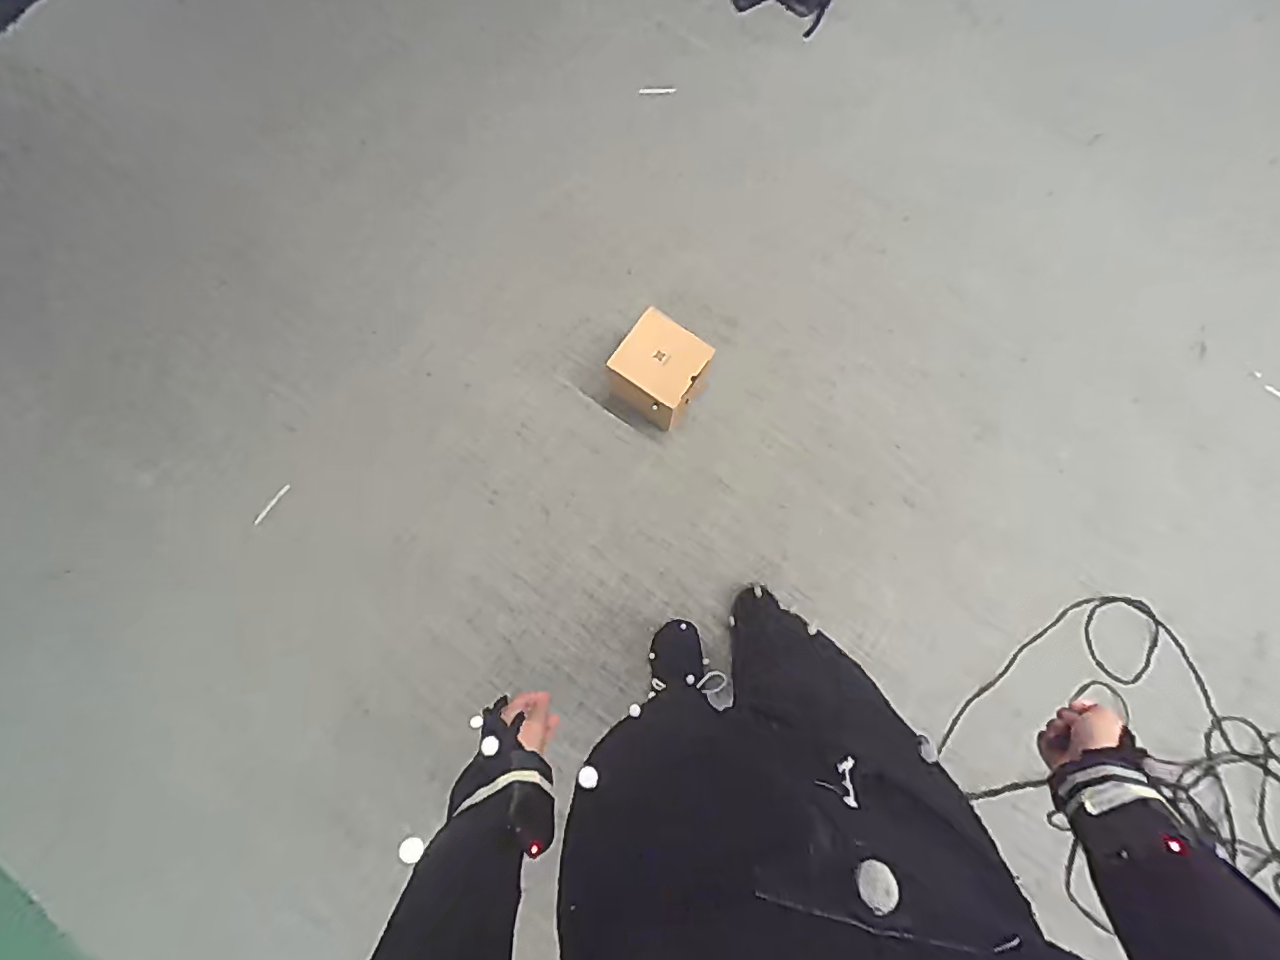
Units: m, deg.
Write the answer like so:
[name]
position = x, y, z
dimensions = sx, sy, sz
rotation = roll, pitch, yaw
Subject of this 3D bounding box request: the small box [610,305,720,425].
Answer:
[small box]
position = 0.050, -0.246, 1.208
dimensions = 0.179, 0.176, 0.168
rotation = 35, 81, 5
